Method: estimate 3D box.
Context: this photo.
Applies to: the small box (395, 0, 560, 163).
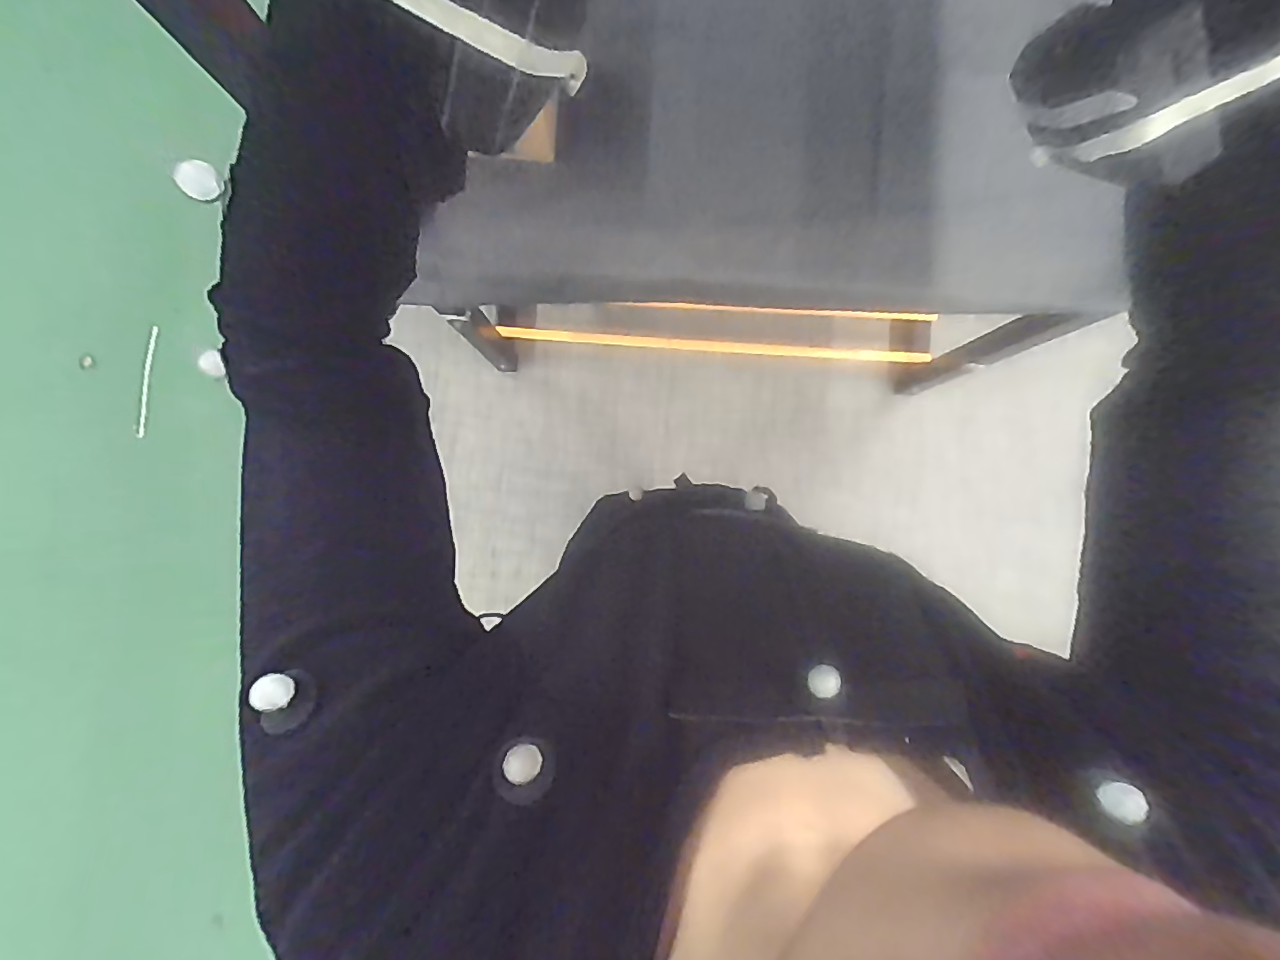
[{"bbox_3d":[-0.202,-0.563,0.718,0.168,0.176,0.179,3,87,0],"label":"small box"}]
